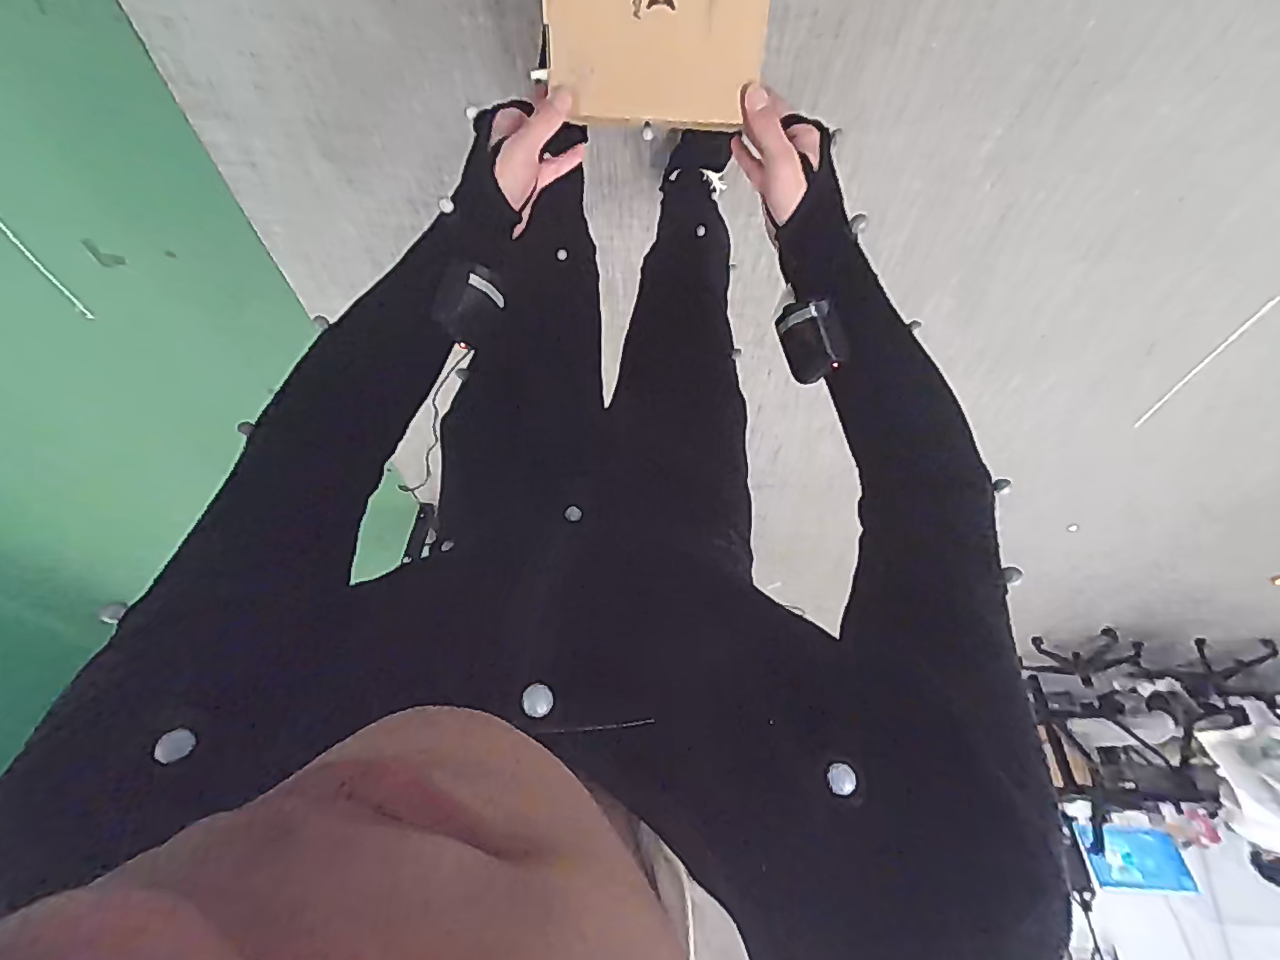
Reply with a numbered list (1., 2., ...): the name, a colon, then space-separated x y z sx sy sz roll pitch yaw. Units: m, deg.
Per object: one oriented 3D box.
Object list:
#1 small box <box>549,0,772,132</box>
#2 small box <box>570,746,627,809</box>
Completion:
1. small box: 0.019 -0.417 0.485 0.179 0.176 0.168 4 122 0
2. small box: -0.137 1.021 1.856 0.179 0.176 0.168 2 145 2
